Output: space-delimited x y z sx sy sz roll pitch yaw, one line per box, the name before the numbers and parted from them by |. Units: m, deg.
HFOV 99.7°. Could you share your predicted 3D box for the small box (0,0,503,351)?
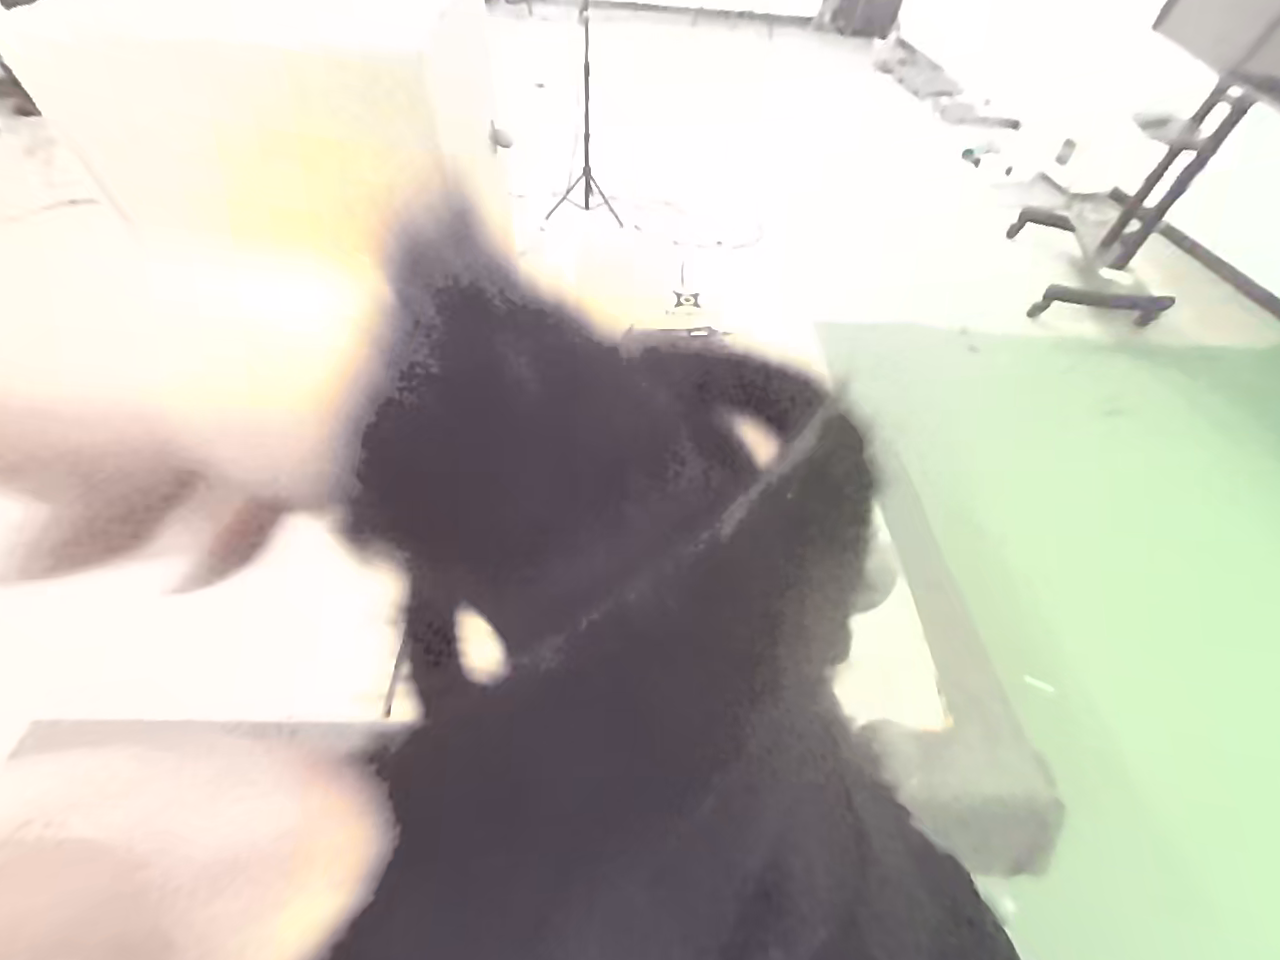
small box | -0.180 -0.199 0.322 0.168 0.176 0.179 -1 52 -4
